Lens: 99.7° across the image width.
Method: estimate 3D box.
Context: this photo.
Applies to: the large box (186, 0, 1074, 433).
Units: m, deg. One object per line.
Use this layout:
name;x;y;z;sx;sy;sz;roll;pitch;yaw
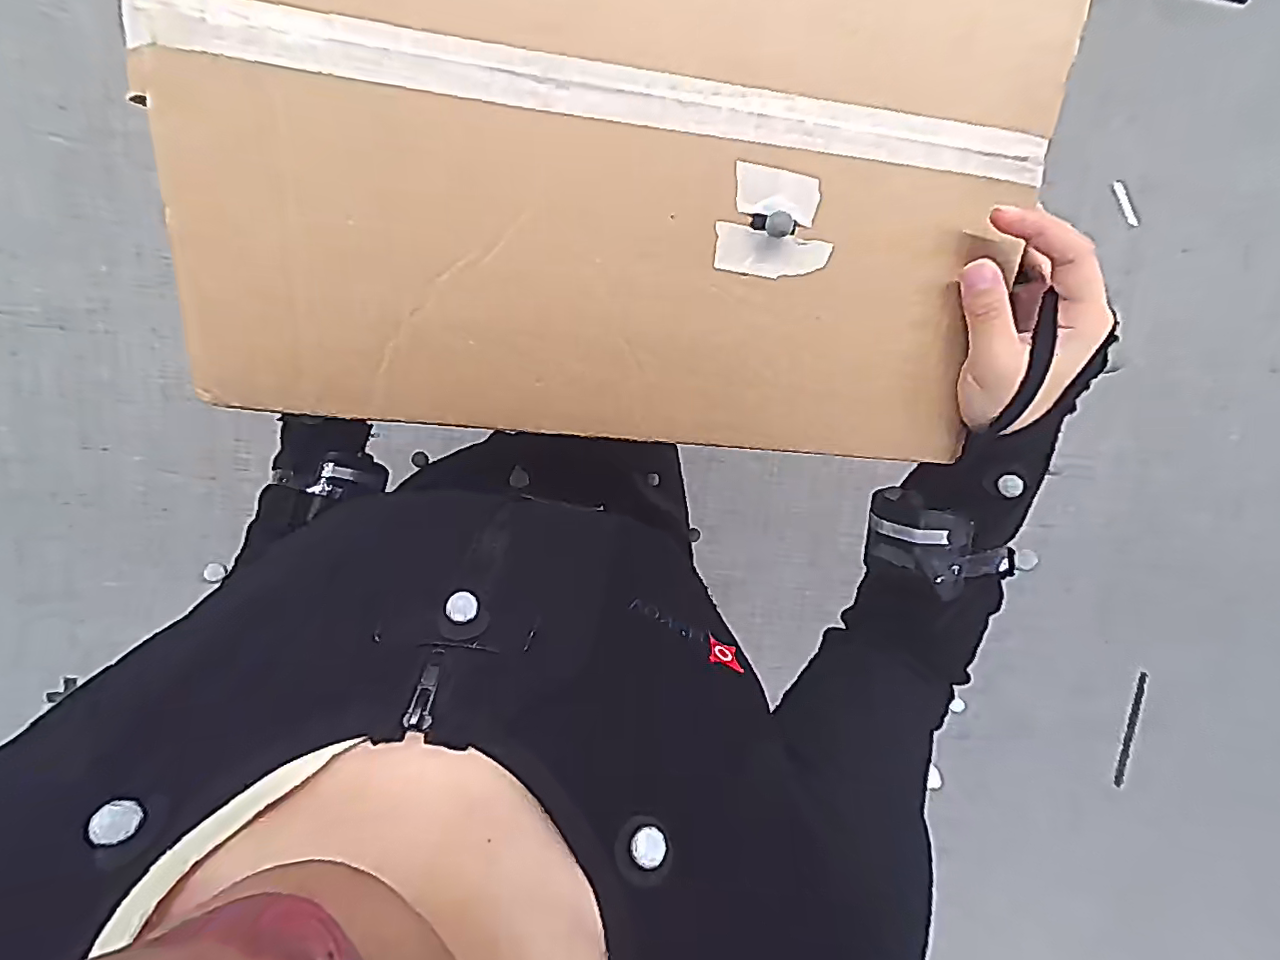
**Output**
large box;-0.014;-0.226;0.393;0.408;0.320;0.320;3;108;-10
